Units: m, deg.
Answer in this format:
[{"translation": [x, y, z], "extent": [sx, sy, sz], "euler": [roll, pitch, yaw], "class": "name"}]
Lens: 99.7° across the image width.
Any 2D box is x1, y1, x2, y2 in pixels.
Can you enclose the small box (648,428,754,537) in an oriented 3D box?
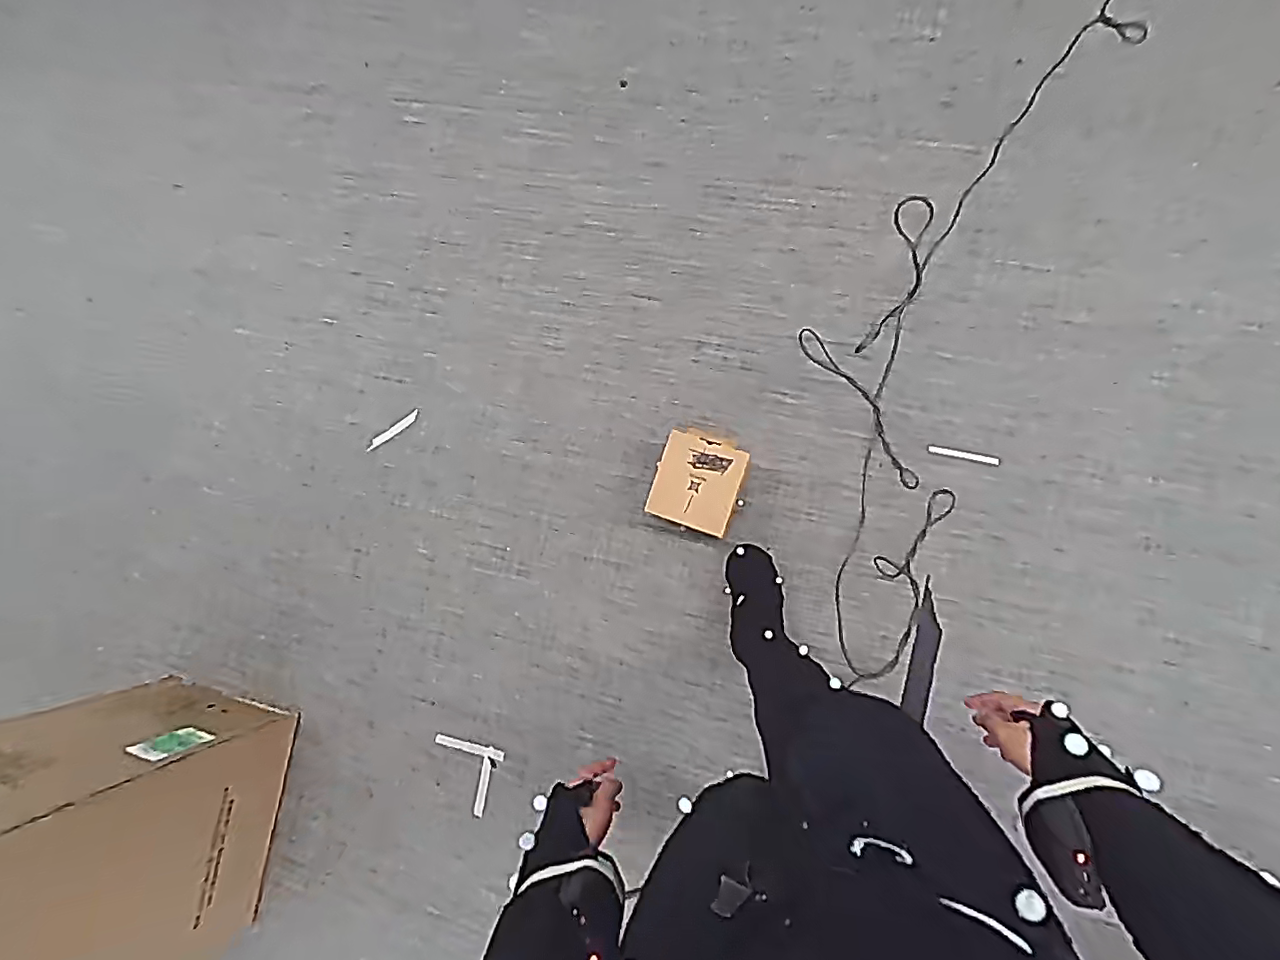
[{"translation": [0.131, 0.009, 1.138], "extent": [0.168, 0.176, 0.179], "euler": [19, 89, 12], "class": "small box"}]
